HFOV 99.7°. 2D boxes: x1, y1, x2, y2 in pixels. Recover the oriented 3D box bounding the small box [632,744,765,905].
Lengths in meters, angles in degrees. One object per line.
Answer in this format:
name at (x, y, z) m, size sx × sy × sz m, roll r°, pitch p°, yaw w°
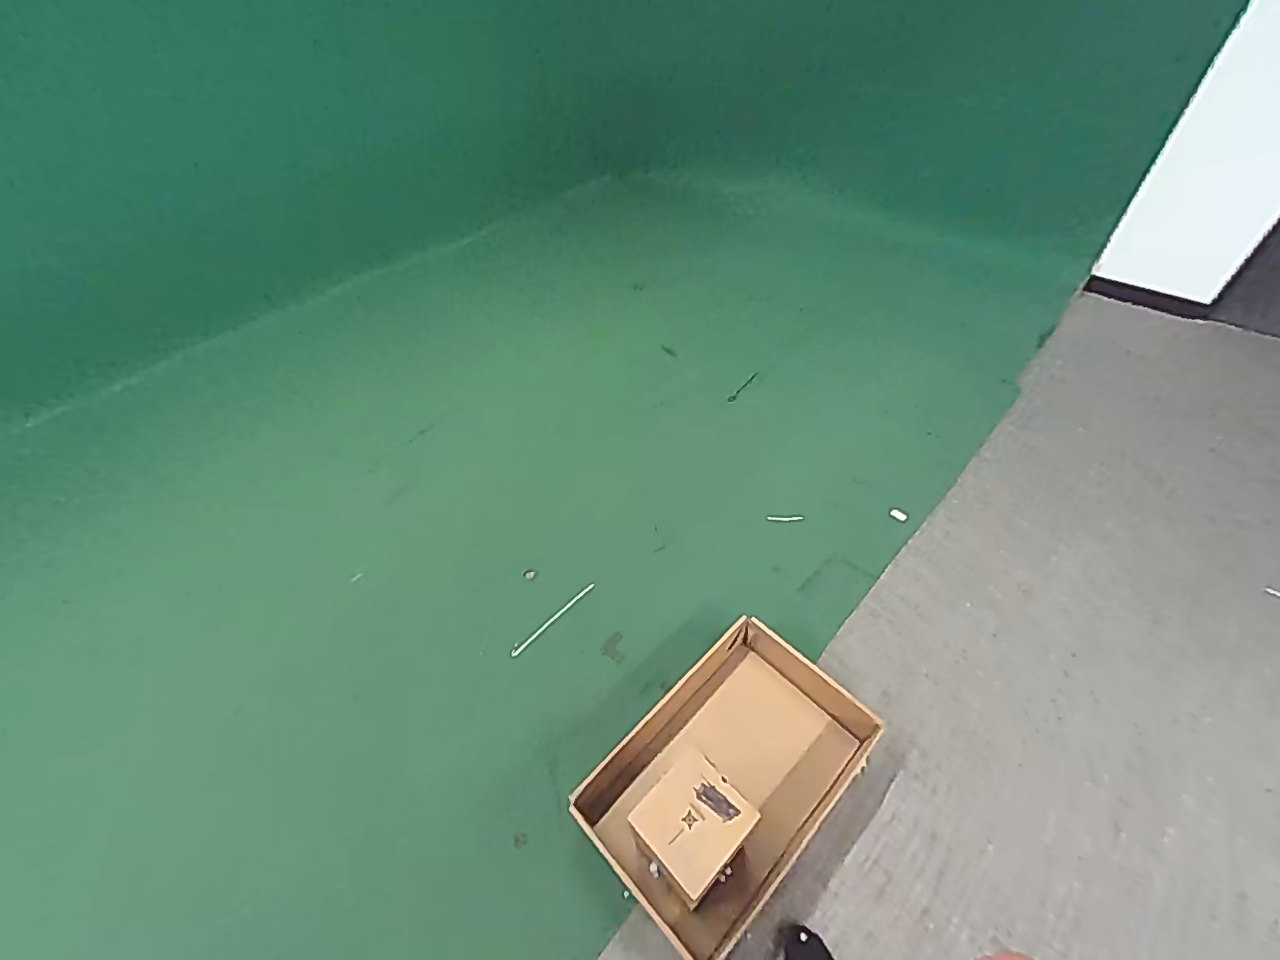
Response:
small box at (0.103, 0.634, 0.995) m, size 0.179 × 0.176 × 0.168 m, roll -37°, pitch 56°, yaw -25°
